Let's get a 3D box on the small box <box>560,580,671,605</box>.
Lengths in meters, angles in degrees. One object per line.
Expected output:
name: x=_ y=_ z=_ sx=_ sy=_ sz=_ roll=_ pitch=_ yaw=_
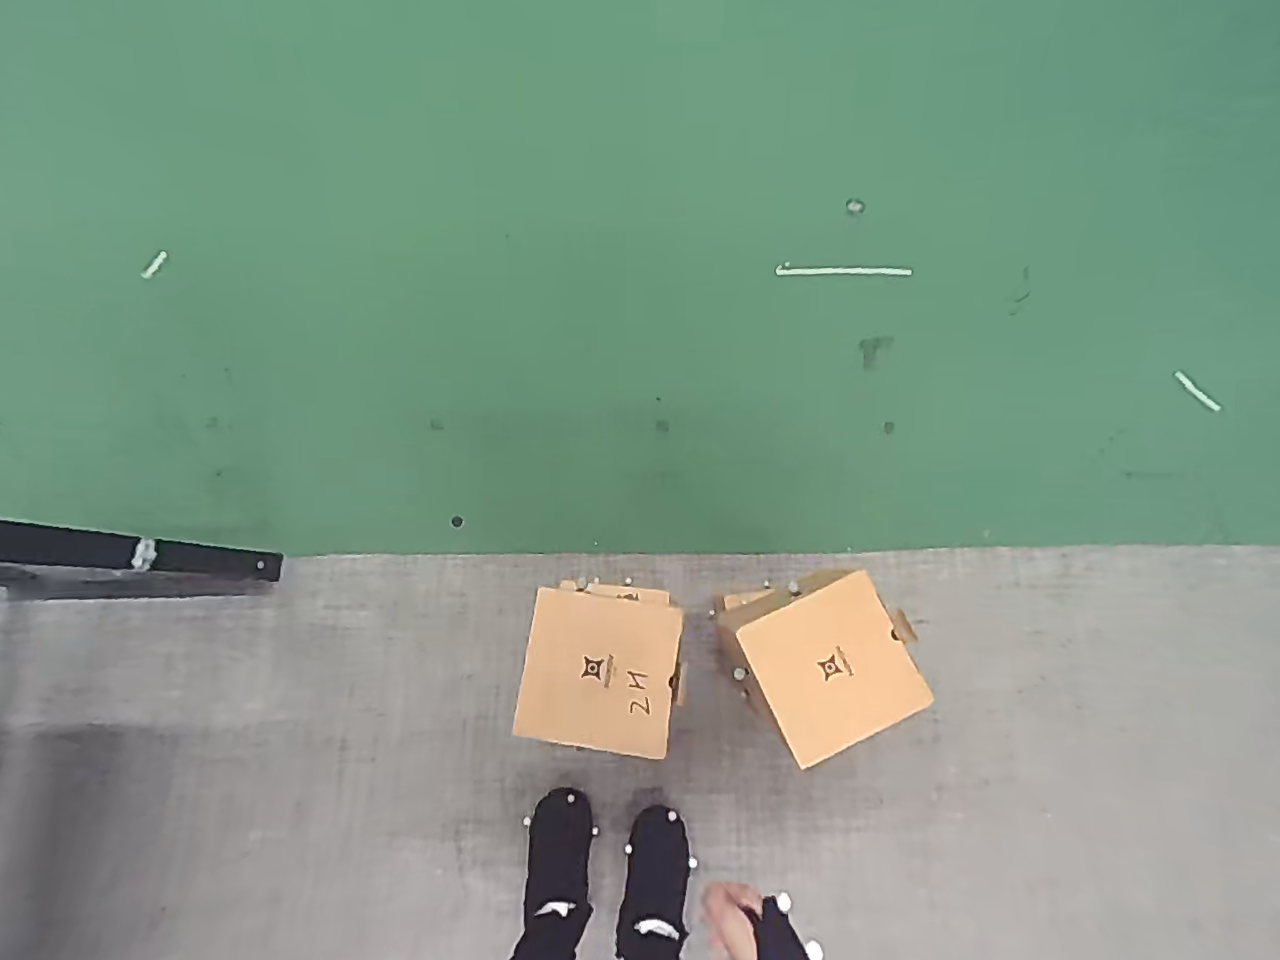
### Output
small box: x=-0.042 y=0.253 z=0.841 sx=0.168 sy=0.176 sz=0.179 roll=5 pitch=78 yaw=2

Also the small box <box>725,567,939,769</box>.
small box: x=0.220 y=0.223 z=0.680 sx=0.179 sy=0.176 sz=0.168 roll=-25 pitch=80 yaw=-5

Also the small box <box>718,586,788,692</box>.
small box: x=0.246 y=0.285 z=0.999 sx=0.179 sy=0.176 sz=0.168 roll=-8 pitch=78 yaw=-2

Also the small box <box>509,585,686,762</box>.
small box: x=-0.044 y=0.229 z=0.676 sx=0.179 sy=0.176 sz=0.168 roll=8 pitch=78 yaw=3
